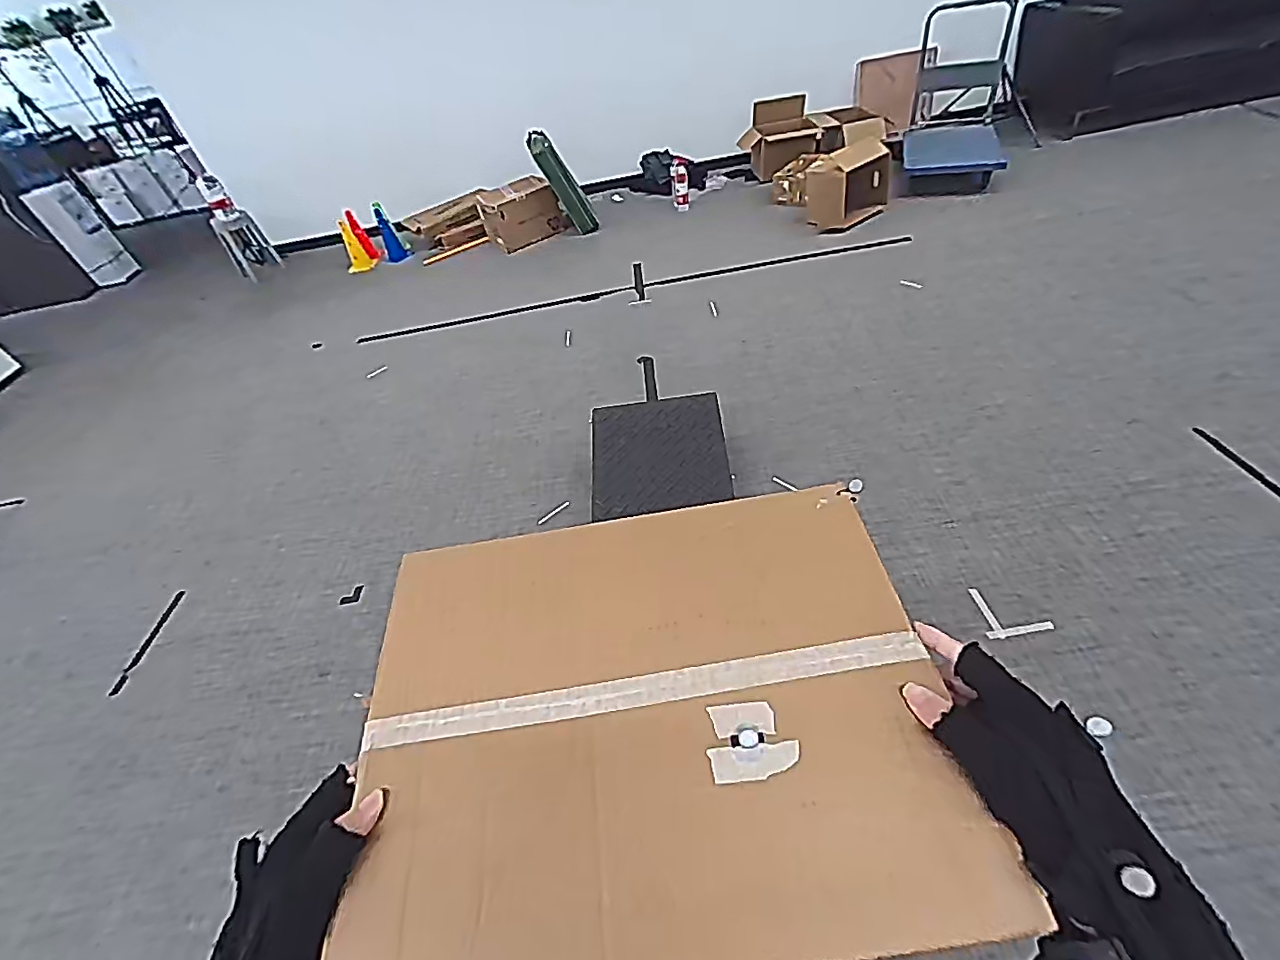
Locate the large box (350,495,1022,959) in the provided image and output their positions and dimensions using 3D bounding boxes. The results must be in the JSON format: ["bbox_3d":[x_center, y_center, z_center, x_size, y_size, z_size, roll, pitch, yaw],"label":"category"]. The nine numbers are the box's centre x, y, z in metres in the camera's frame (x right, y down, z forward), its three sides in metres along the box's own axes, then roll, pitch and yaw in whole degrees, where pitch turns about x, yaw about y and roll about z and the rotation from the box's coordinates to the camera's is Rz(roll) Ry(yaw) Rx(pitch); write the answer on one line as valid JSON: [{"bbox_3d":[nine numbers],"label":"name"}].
[{"bbox_3d":[0.022,0.257,0.515,0.408,0.320,0.320,-9,49,1],"label":"large box"}]
